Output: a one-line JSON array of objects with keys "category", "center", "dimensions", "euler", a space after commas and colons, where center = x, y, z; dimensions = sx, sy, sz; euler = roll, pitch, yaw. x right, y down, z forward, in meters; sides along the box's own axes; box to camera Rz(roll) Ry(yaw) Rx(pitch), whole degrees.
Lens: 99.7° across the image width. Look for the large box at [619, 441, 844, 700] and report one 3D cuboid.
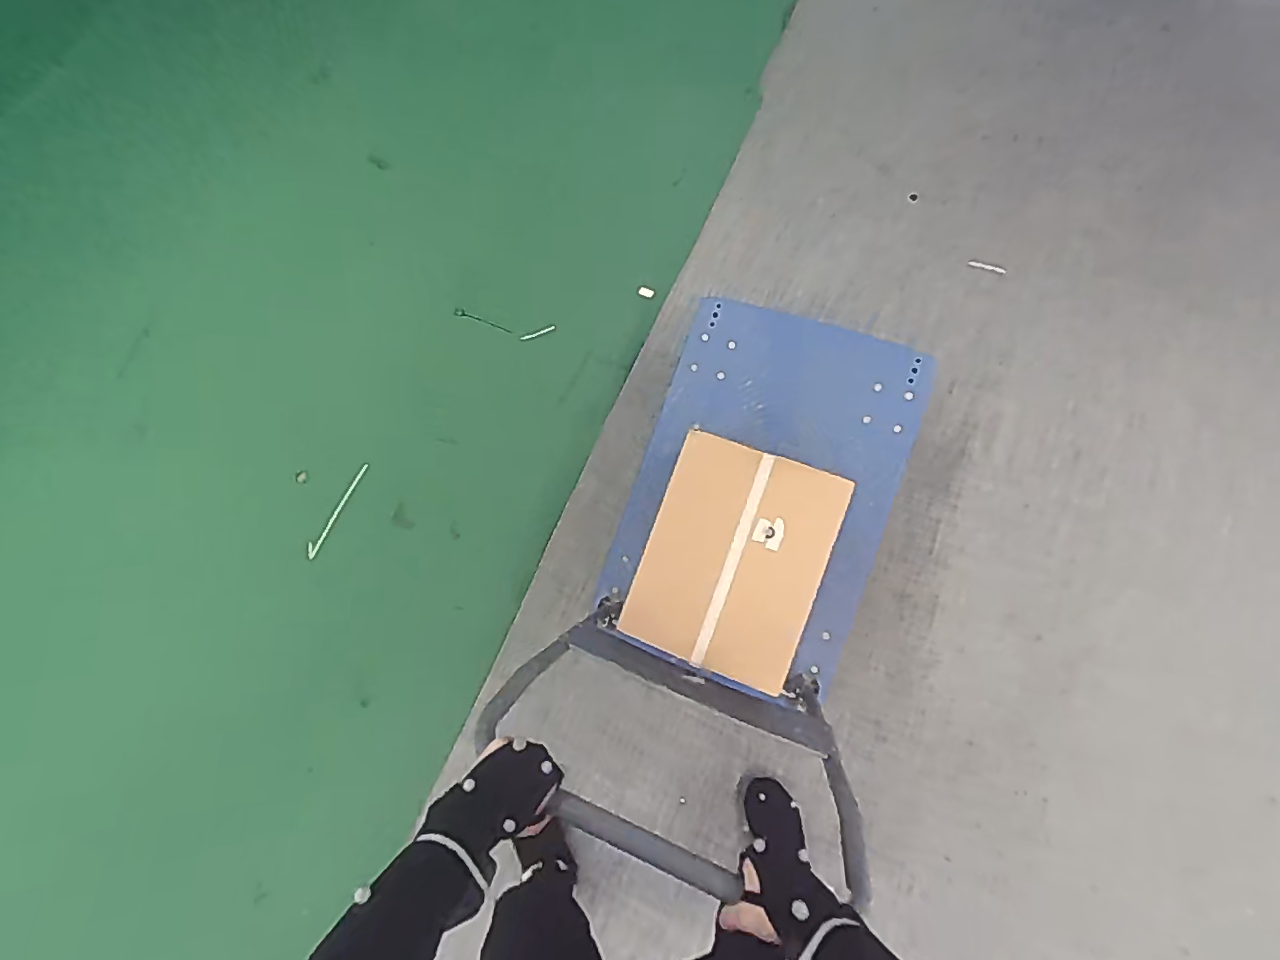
[{"category": "large box", "center": [0.192, 0.177, 1.141], "dimensions": [0.320, 0.320, 0.408], "euler": [20, 87, 12]}]
